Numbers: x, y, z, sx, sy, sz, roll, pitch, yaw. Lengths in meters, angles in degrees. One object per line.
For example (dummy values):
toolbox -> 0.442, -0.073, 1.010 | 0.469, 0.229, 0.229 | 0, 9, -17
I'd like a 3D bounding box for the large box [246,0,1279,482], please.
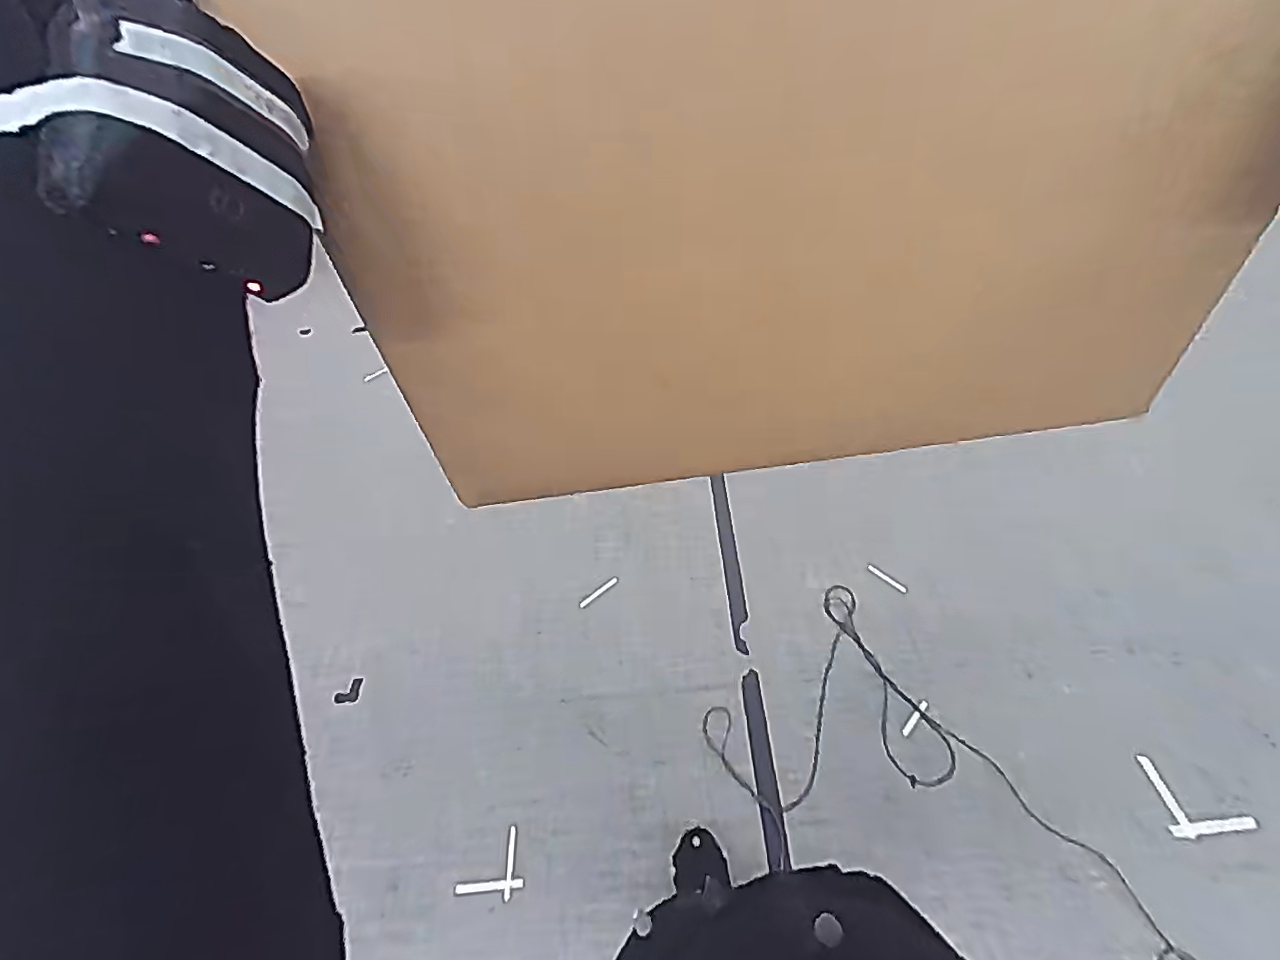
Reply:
large box -> 0.057, -0.231, 0.337 | 0.408, 0.320, 0.320 | -8, 45, 1
